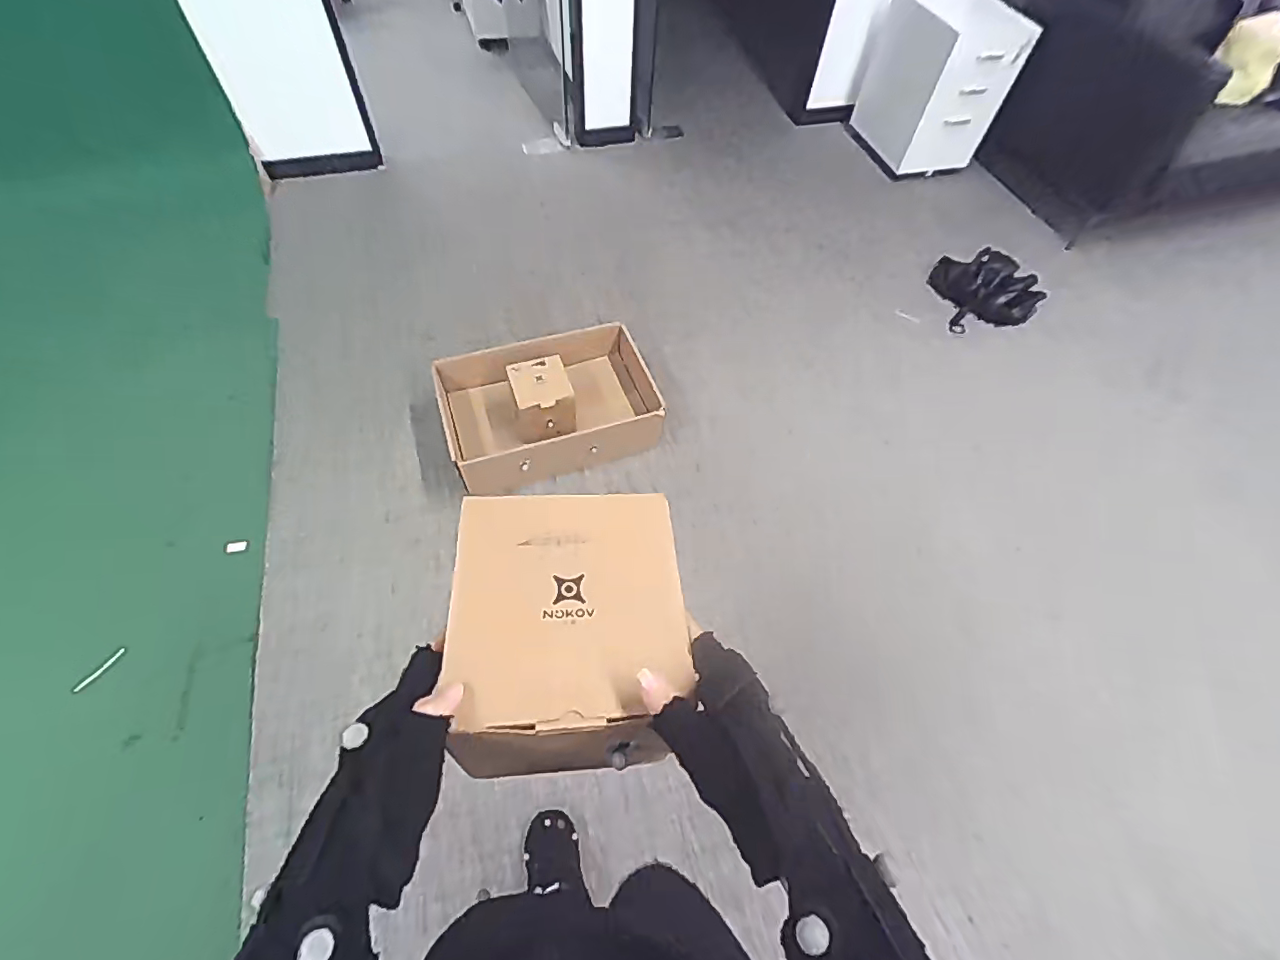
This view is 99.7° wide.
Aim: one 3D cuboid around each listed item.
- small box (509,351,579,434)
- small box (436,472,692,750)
[{"bbox_3d":[-0.288,-0.257,1.644,0.168,0.176,0.179,-16,61,-13],"label":"small box"},{"bbox_3d":[-0.063,0.115,0.451,0.168,0.176,0.179,-5,56,-10],"label":"small box"}]
